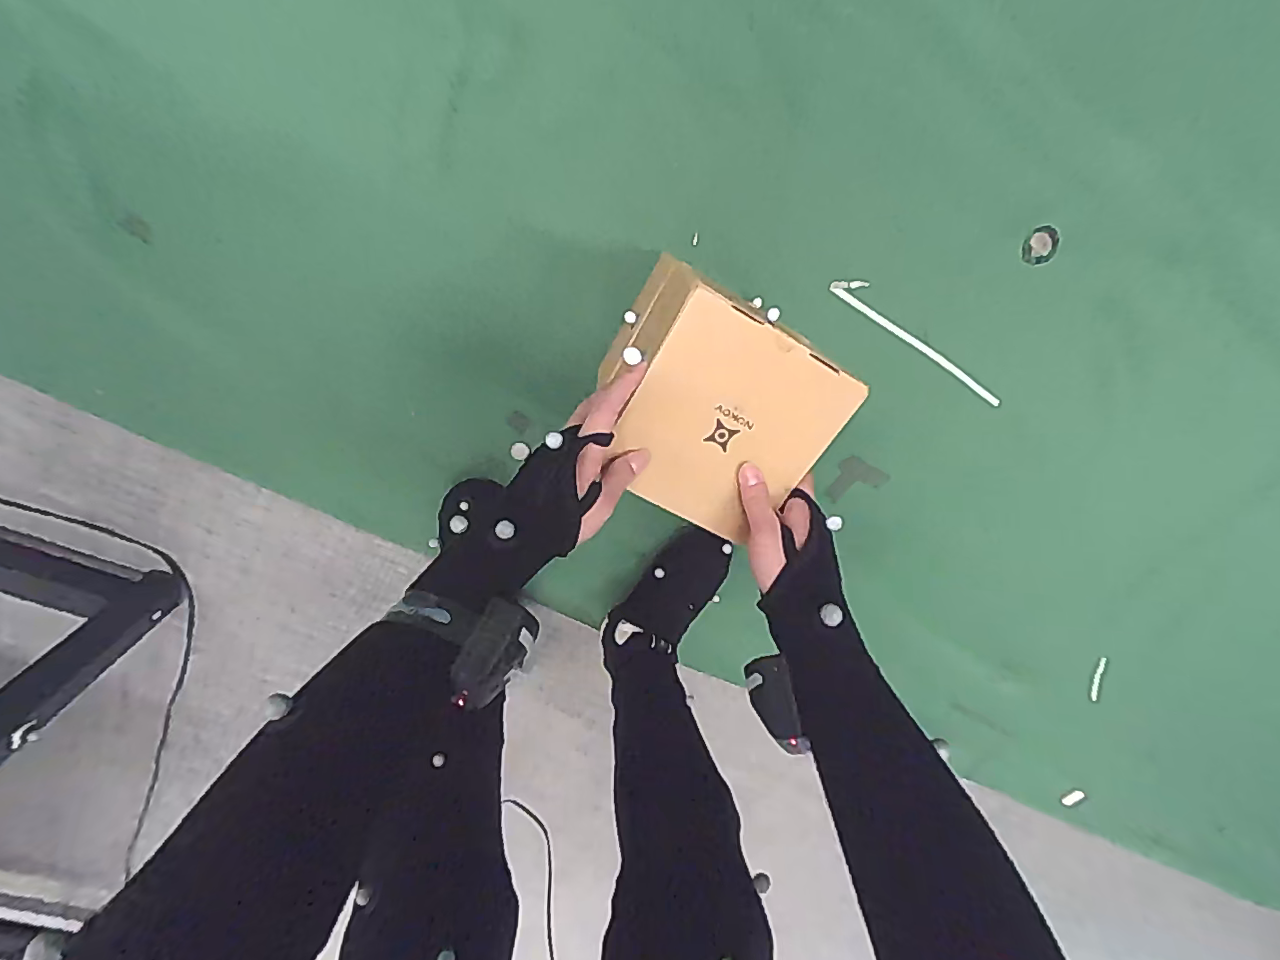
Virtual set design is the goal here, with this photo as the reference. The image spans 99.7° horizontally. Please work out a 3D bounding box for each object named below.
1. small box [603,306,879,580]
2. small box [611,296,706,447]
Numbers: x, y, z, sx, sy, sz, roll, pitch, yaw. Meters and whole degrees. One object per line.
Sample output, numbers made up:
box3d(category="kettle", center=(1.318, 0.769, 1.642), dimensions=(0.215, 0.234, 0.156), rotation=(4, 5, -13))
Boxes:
box3d(category="small box", center=(0.081, -0.045, 0.514), dimensions=(0.168, 0.176, 0.179), rotation=(26, 109, -11))
box3d(category="small box", center=(0.076, -0.107, 0.663), dimensions=(0.168, 0.176, 0.179), rotation=(26, 111, -10))
